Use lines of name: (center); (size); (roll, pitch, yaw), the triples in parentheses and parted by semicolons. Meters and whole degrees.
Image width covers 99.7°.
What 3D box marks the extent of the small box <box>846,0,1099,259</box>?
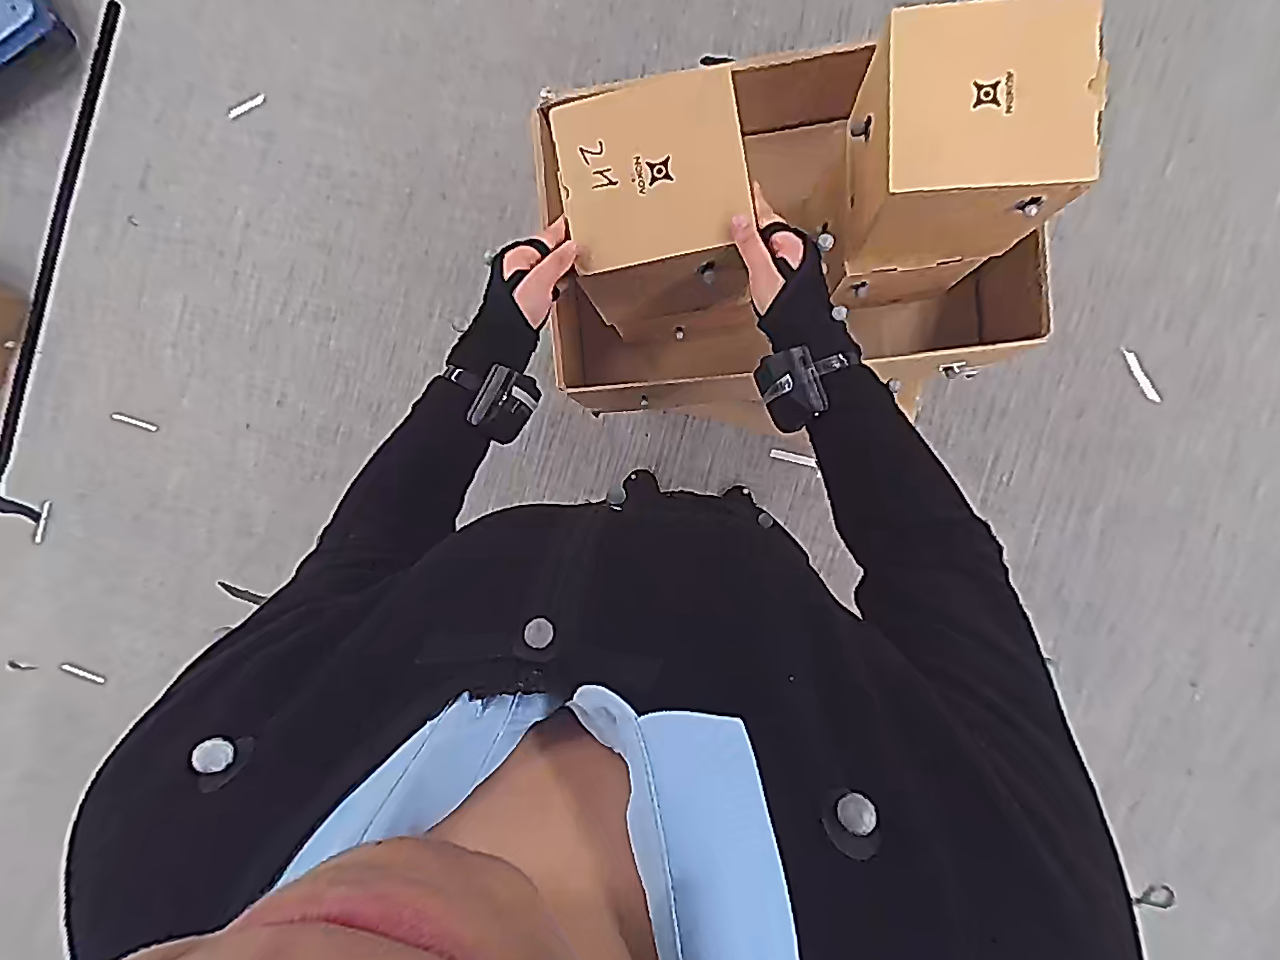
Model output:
small box: (0.319, -0.340, 0.556); (0.179, 0.176, 0.168); (0, 91, 7)

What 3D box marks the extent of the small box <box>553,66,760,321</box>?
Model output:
small box: (0.023, -0.285, 0.581); (0.179, 0.176, 0.168); (-9, 89, 8)
